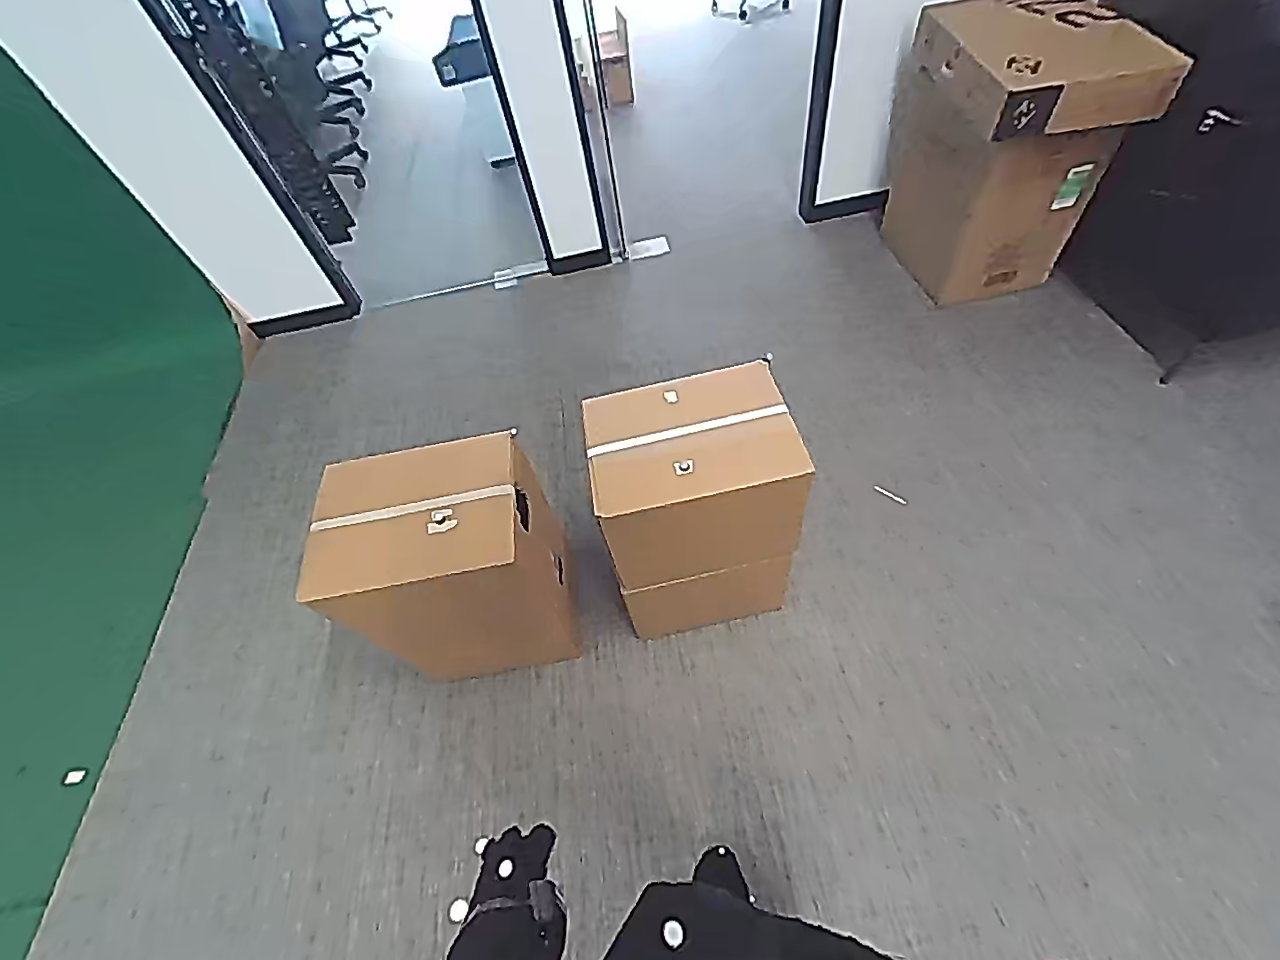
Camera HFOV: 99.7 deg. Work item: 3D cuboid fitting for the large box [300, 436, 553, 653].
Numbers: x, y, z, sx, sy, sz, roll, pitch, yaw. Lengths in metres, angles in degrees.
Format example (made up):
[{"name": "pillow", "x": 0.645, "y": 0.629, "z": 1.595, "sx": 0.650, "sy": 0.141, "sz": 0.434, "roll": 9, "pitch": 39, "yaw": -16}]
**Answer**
[{"name": "large box", "x": -0.425, "y": 0.149, "z": 1.174, "sx": 0.408, "sy": 0.320, "sz": 0.320, "roll": -10, "pitch": 56, "yaw": 0}]
